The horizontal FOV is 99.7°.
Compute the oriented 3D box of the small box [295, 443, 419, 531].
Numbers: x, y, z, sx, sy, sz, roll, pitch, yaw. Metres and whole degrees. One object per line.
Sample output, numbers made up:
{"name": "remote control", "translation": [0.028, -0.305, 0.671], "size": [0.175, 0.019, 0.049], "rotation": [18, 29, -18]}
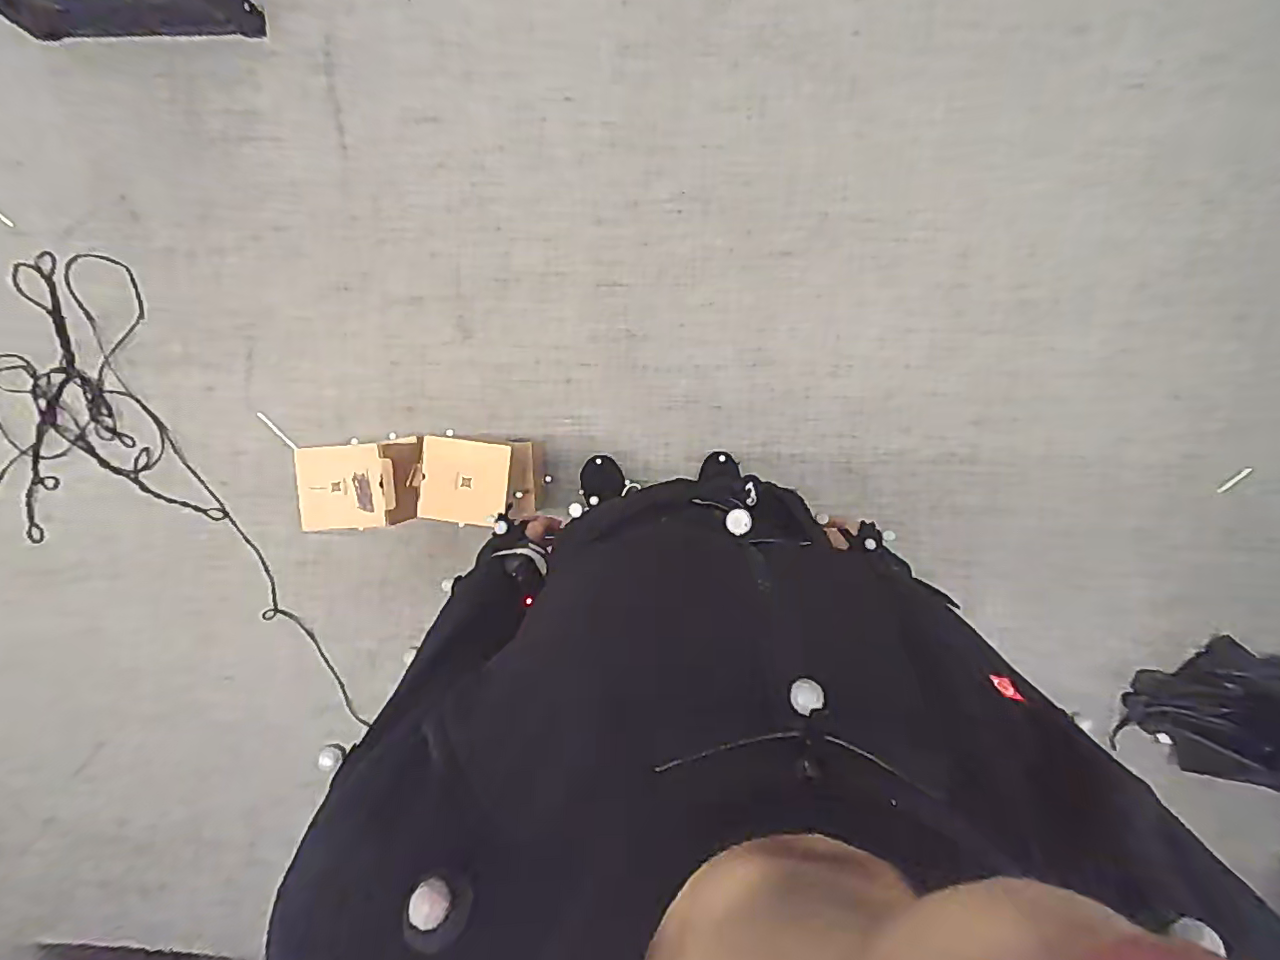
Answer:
{"name": "small box", "translation": [-0.577, 0.009, 1.130], "size": [0.179, 0.176, 0.168], "rotation": [-3, 93, 3]}

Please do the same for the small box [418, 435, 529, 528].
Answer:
{"name": "small box", "translation": [-0.338, -0.004, 1.128], "size": [0.179, 0.176, 0.168], "rotation": [7, 95, 1]}

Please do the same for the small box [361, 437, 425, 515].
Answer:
{"name": "small box", "translation": [-0.562, -0.008, 1.294], "size": [0.168, 0.176, 0.179], "rotation": [-9, 94, 3]}
